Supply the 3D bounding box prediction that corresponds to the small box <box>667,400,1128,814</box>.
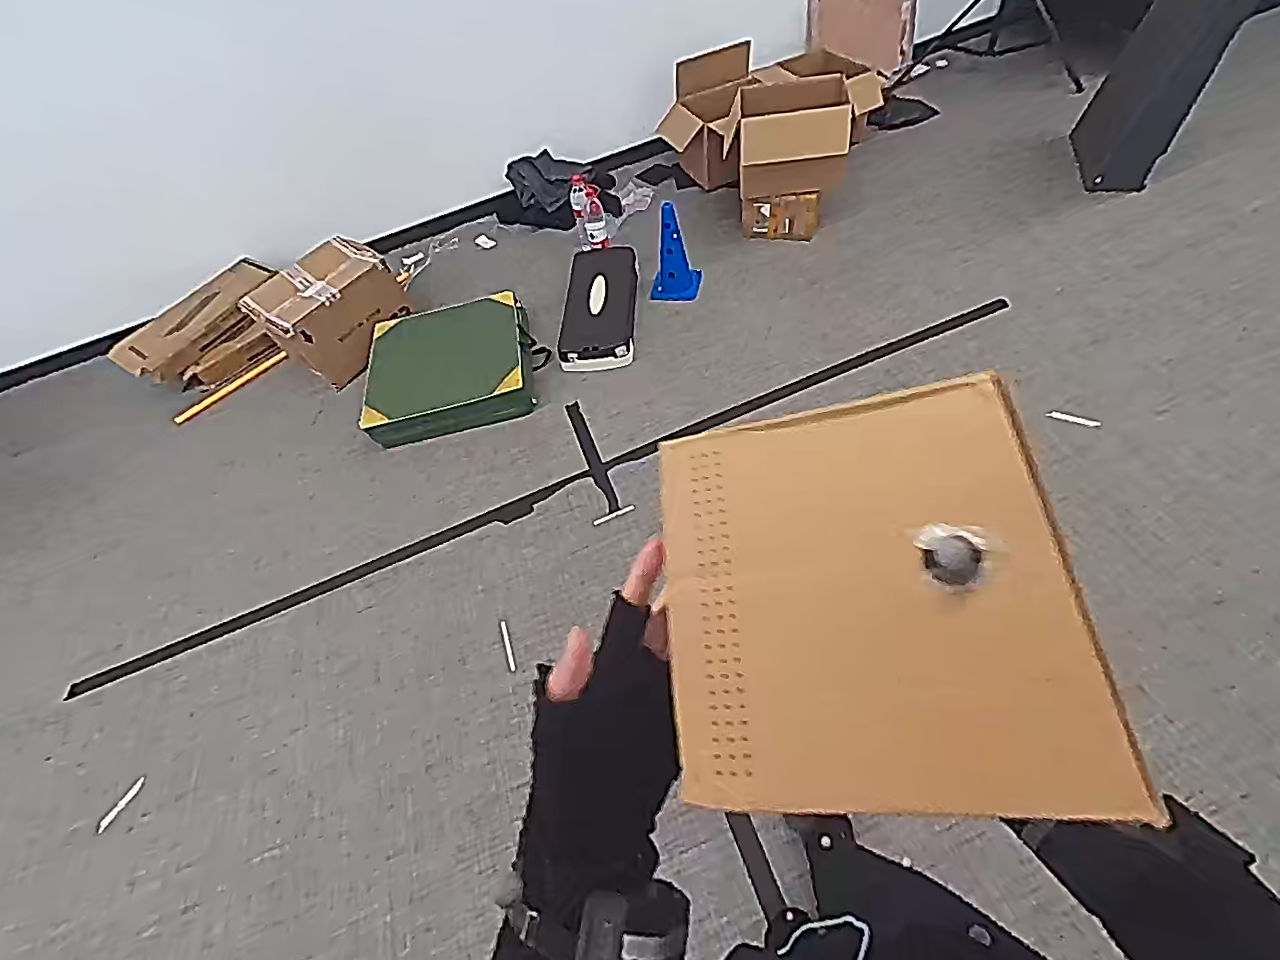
[{"bbox_3d":[0.119,0.083,0.315,0.176,0.168,0.179,-11,65,20],"label":"small box"}]
